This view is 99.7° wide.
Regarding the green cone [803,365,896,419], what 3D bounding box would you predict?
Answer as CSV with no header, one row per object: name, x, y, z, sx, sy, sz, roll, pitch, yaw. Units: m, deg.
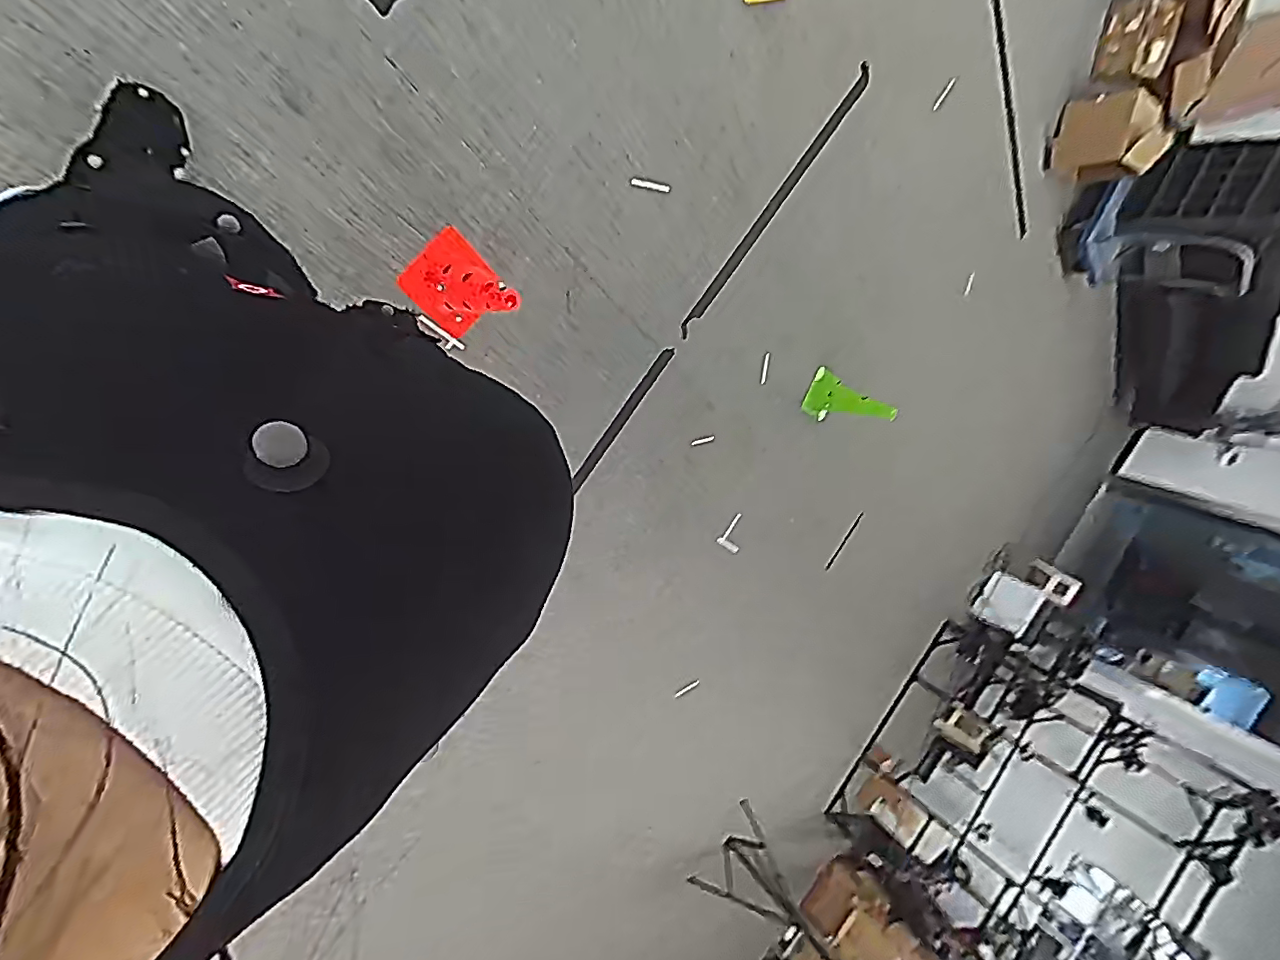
green cone,0.919,-0.336,2.308,0.200,0.368,0.202,16,101,-42

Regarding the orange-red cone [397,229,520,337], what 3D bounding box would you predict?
orange-red cone,-0.364,-0.425,1.213,0.199,0.360,0.198,-51,133,-9
